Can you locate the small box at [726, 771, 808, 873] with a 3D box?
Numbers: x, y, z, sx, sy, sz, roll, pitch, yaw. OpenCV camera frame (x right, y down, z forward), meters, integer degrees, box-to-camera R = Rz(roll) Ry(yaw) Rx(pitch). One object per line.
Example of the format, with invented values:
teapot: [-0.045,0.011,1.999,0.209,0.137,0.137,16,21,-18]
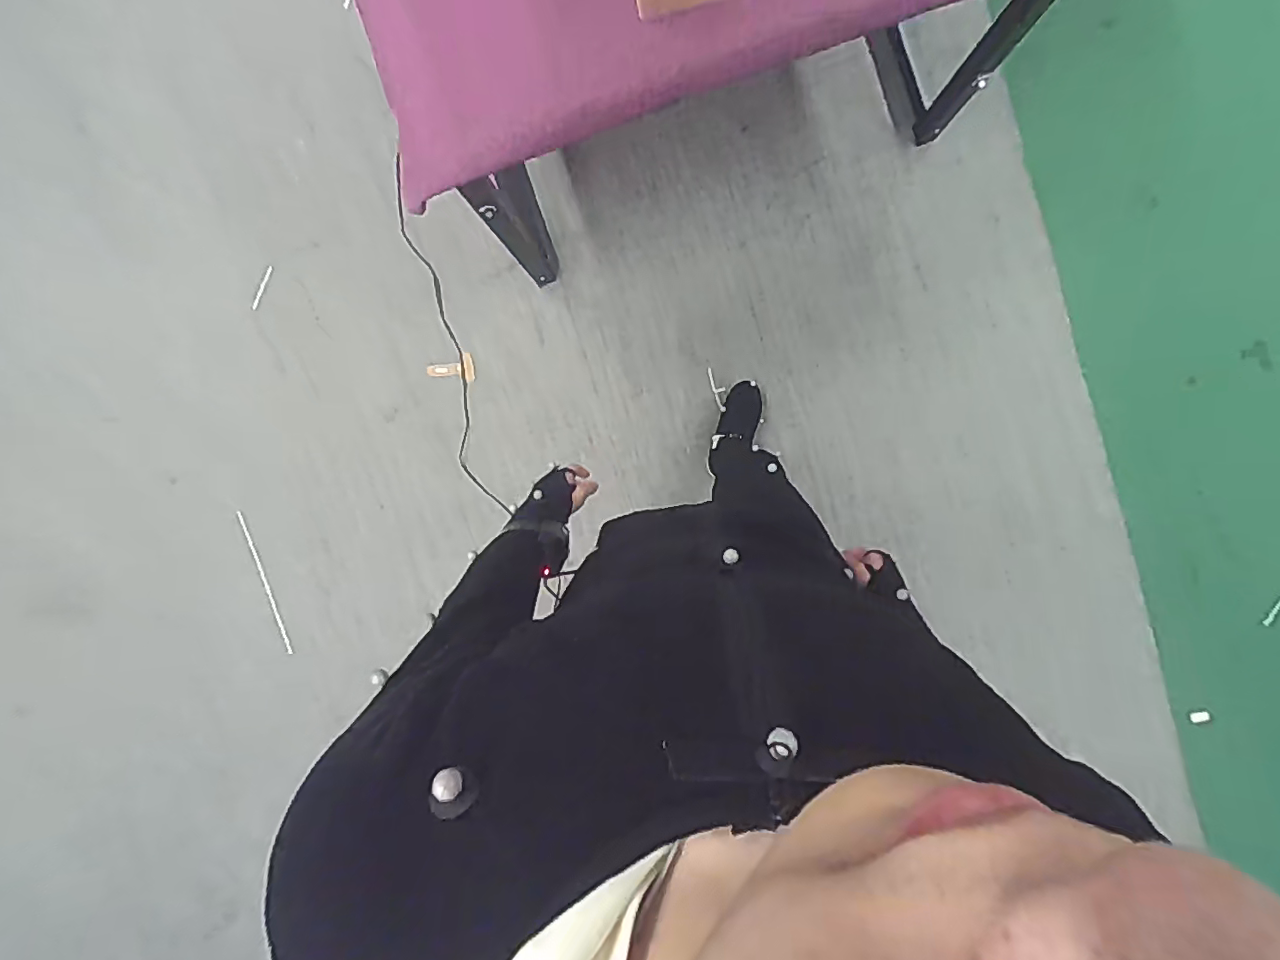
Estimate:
small box: [0.362,0.980,1.566,0.179,0.176,0.168,-18,93,5]

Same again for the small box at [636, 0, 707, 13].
small box: [0.066,-0.796,0.734,0.179,0.176,0.168,-9,92,5]
